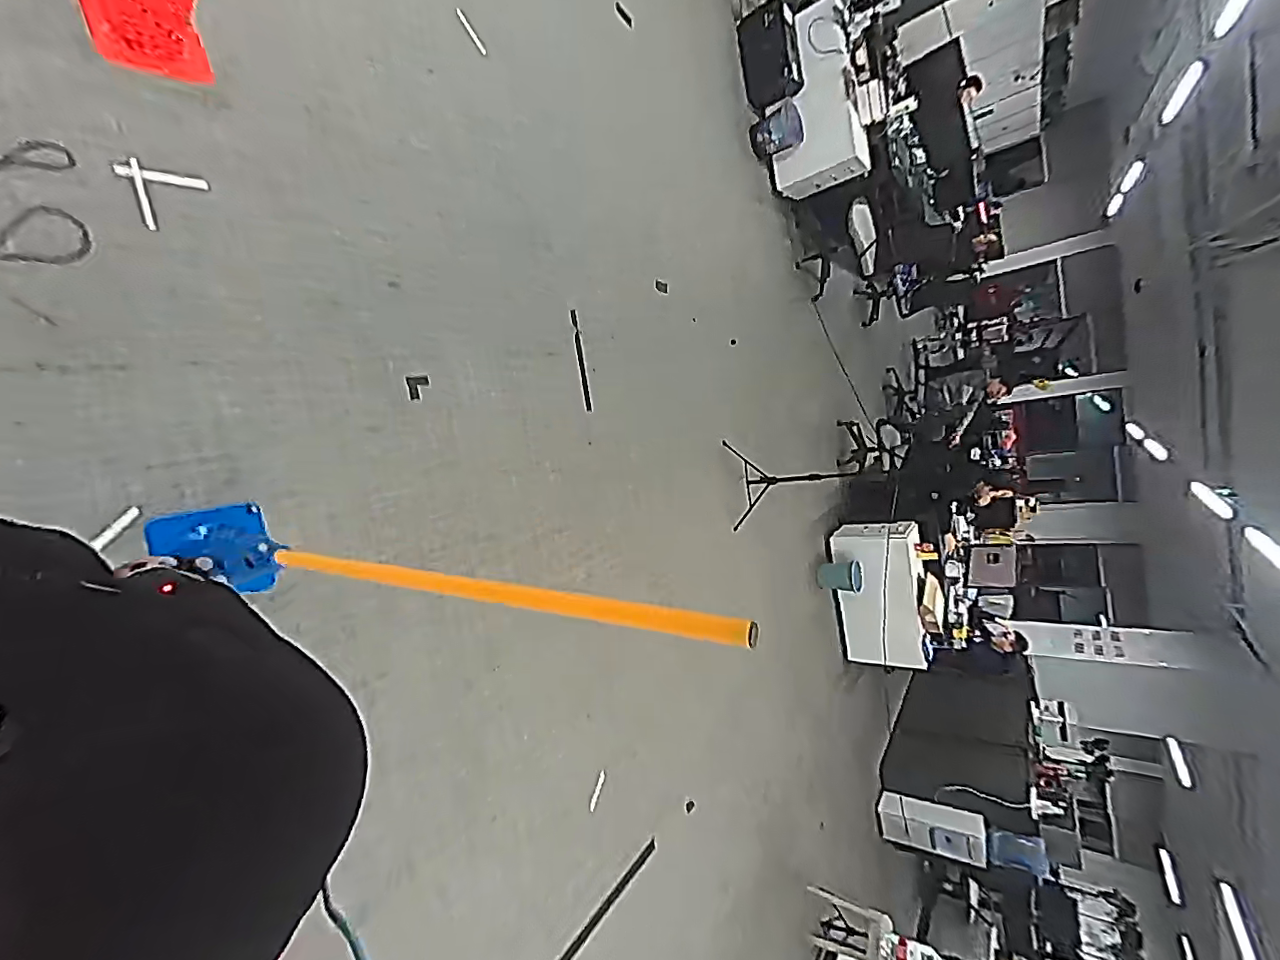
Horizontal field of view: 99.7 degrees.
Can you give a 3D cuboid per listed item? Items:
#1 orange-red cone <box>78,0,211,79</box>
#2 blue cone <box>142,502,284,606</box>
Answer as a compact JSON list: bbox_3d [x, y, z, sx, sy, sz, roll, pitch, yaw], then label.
[{"bbox_3d":[-0.891,-0.966,1.007,0.199,0.360,0.198,-25,105,-50],"label":"orange-red cone"},{"bbox_3d":[-0.772,0.138,1.034,0.193,0.380,0.192,-14,95,-53],"label":"blue cone"}]
